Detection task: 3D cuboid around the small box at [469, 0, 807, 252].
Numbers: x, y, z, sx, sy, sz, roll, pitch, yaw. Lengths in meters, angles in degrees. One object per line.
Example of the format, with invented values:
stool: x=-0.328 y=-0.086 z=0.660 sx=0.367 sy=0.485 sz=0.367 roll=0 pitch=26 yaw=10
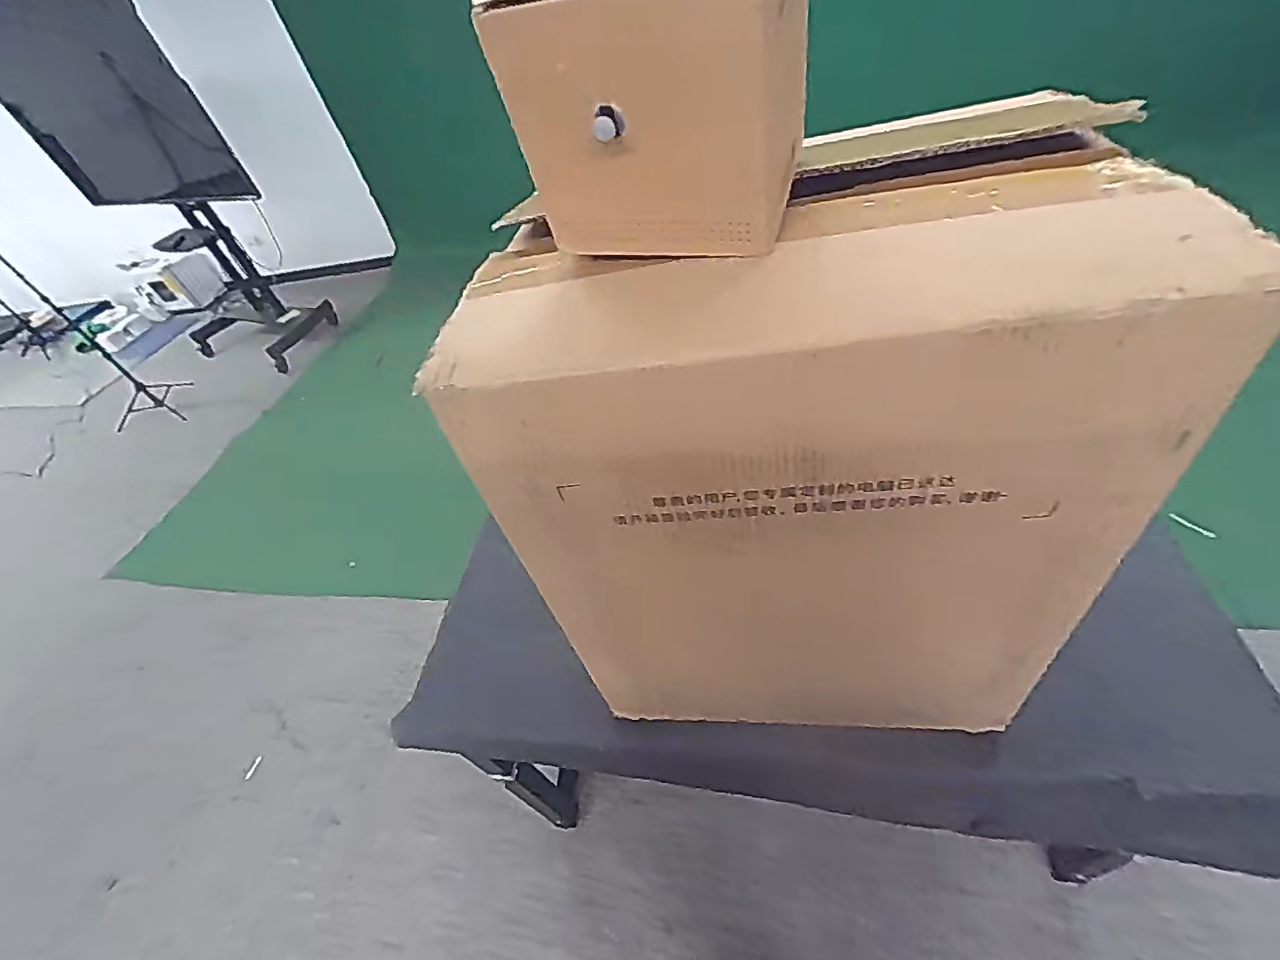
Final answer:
small box: x=0.019 y=-0.287 z=0.392 sx=0.179 sy=0.176 sz=0.168 roll=9 pitch=61 yaw=20
